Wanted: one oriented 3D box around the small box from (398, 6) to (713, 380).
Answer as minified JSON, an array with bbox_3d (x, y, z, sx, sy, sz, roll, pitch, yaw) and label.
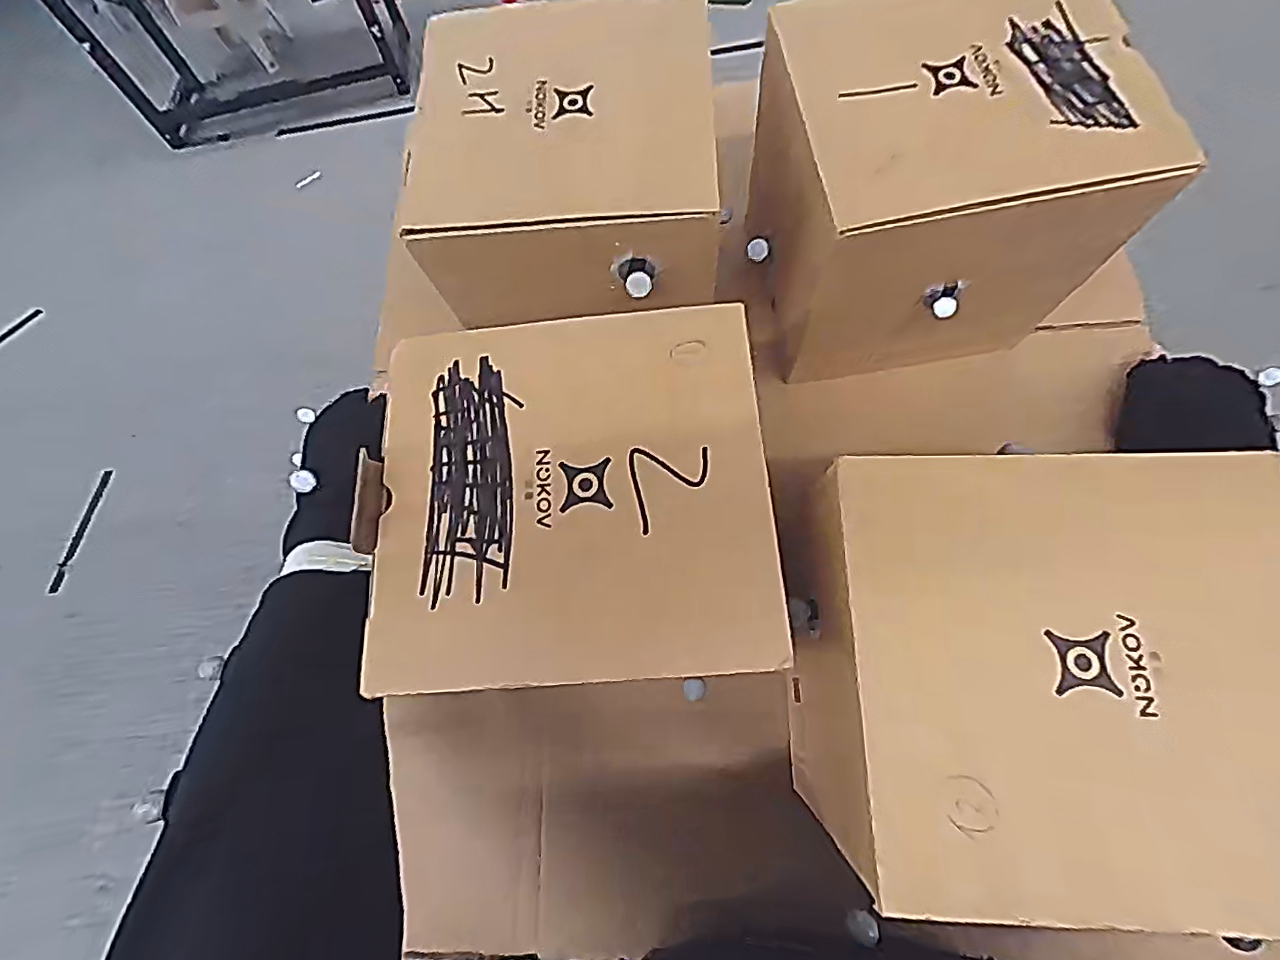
[{"bbox_3d":[-0.041,-0.185,0.391,0.179,0.176,0.168,-2,73,6],"label":"small box"}]
